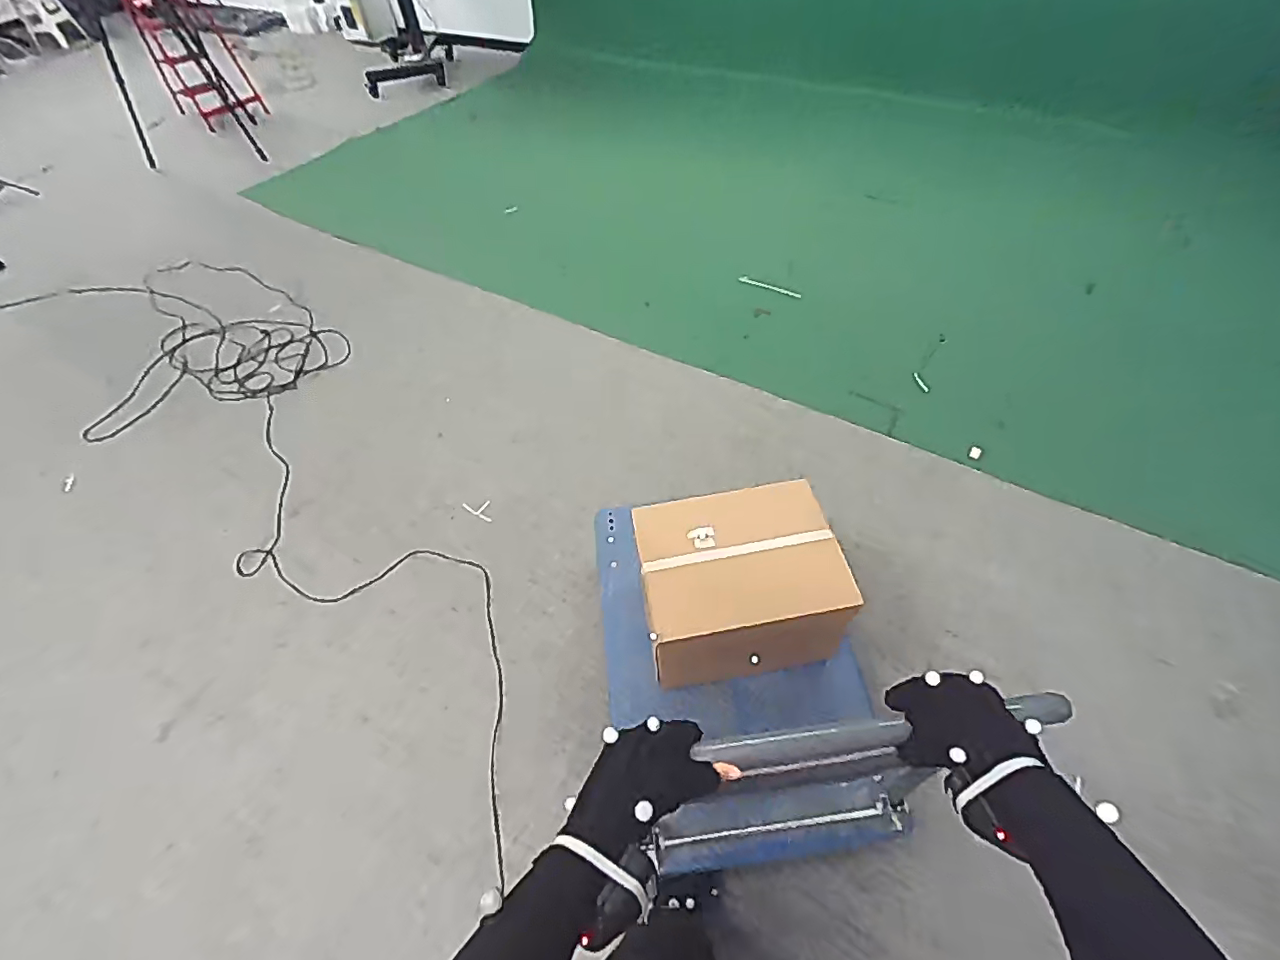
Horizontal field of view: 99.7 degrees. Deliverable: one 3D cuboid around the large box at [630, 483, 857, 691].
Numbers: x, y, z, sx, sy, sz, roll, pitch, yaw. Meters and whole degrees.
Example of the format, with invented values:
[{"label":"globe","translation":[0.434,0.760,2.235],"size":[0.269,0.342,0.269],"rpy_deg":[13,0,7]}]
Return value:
[{"label":"large box","translation":[0.209,0.249,1.234],"size":[0.408,0.320,0.320],"rpy_deg":[-10,52,-4]}]
